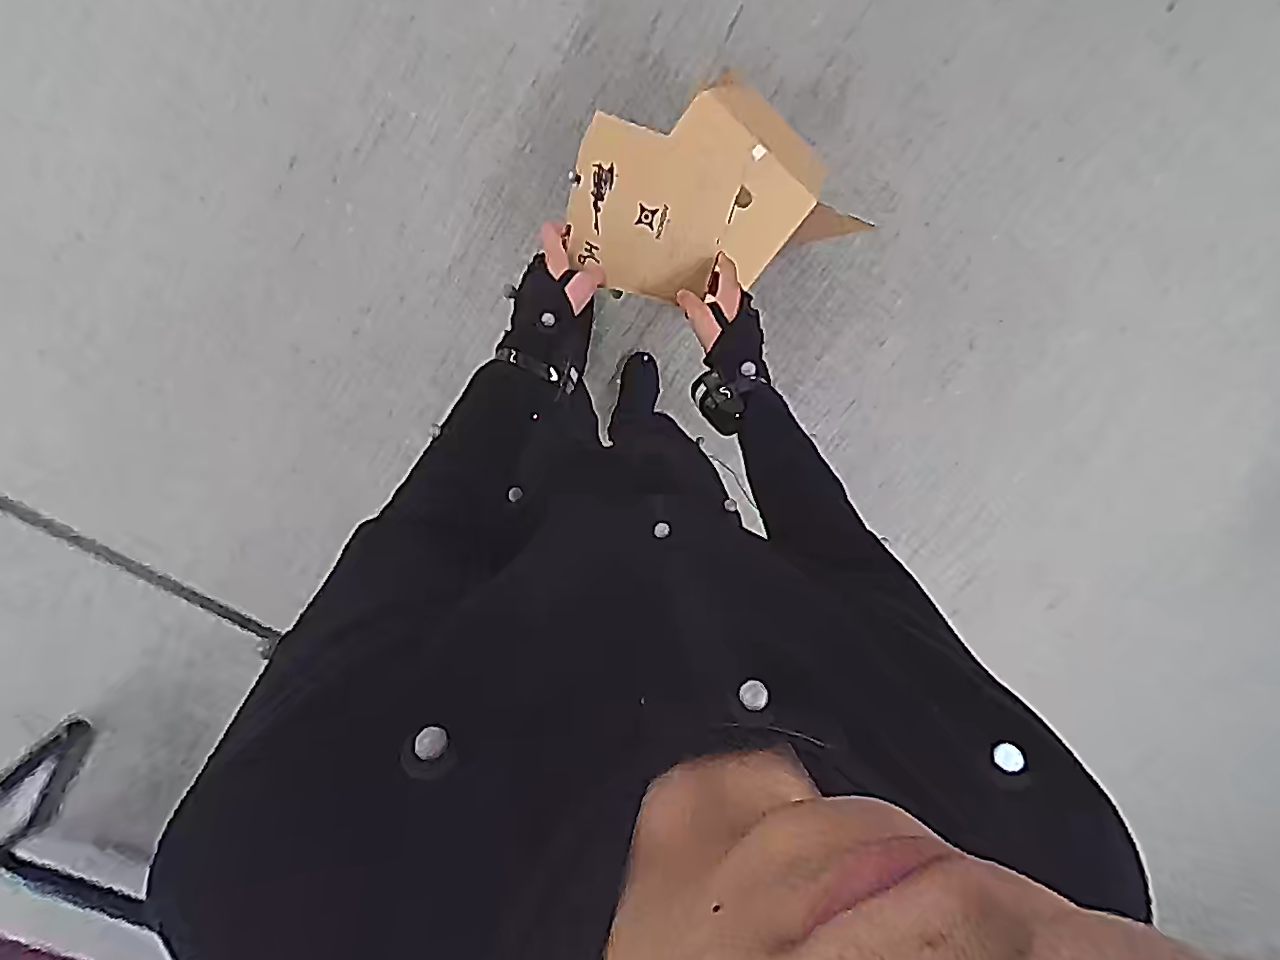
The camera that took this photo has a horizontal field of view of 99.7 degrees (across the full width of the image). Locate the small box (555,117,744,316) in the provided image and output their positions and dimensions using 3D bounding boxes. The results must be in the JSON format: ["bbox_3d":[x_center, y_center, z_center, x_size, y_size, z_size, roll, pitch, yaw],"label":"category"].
[{"bbox_3d":[-0.002,-0.319,0.673,0.179,0.176,0.168,10,112,-16],"label":"small box"}]
